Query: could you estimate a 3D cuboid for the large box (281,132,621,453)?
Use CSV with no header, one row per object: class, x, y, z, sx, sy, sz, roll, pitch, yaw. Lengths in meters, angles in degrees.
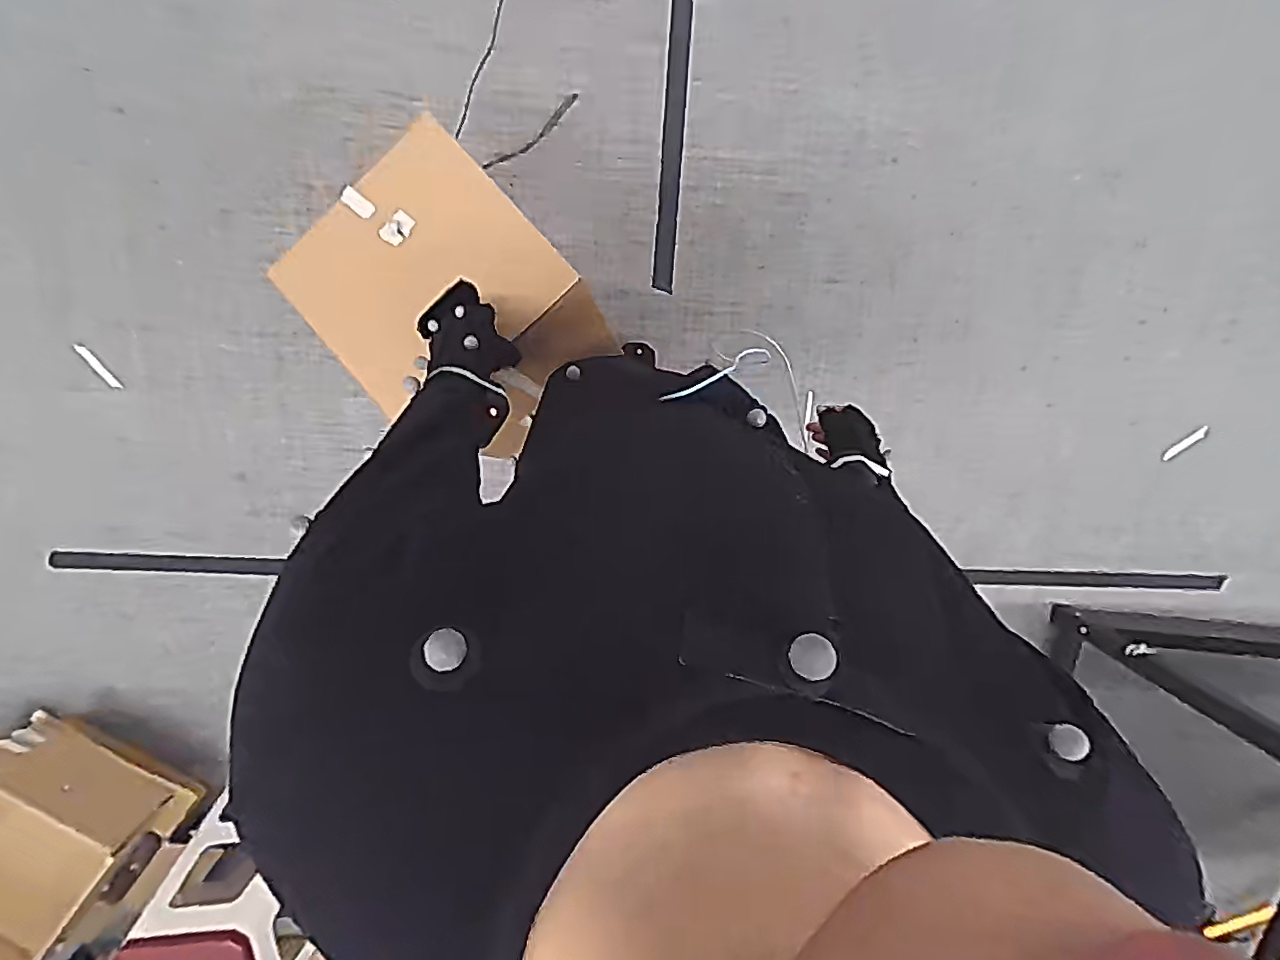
large box,-0.275,-0.266,0.919,0.320,0.408,0.320,-41,85,5
